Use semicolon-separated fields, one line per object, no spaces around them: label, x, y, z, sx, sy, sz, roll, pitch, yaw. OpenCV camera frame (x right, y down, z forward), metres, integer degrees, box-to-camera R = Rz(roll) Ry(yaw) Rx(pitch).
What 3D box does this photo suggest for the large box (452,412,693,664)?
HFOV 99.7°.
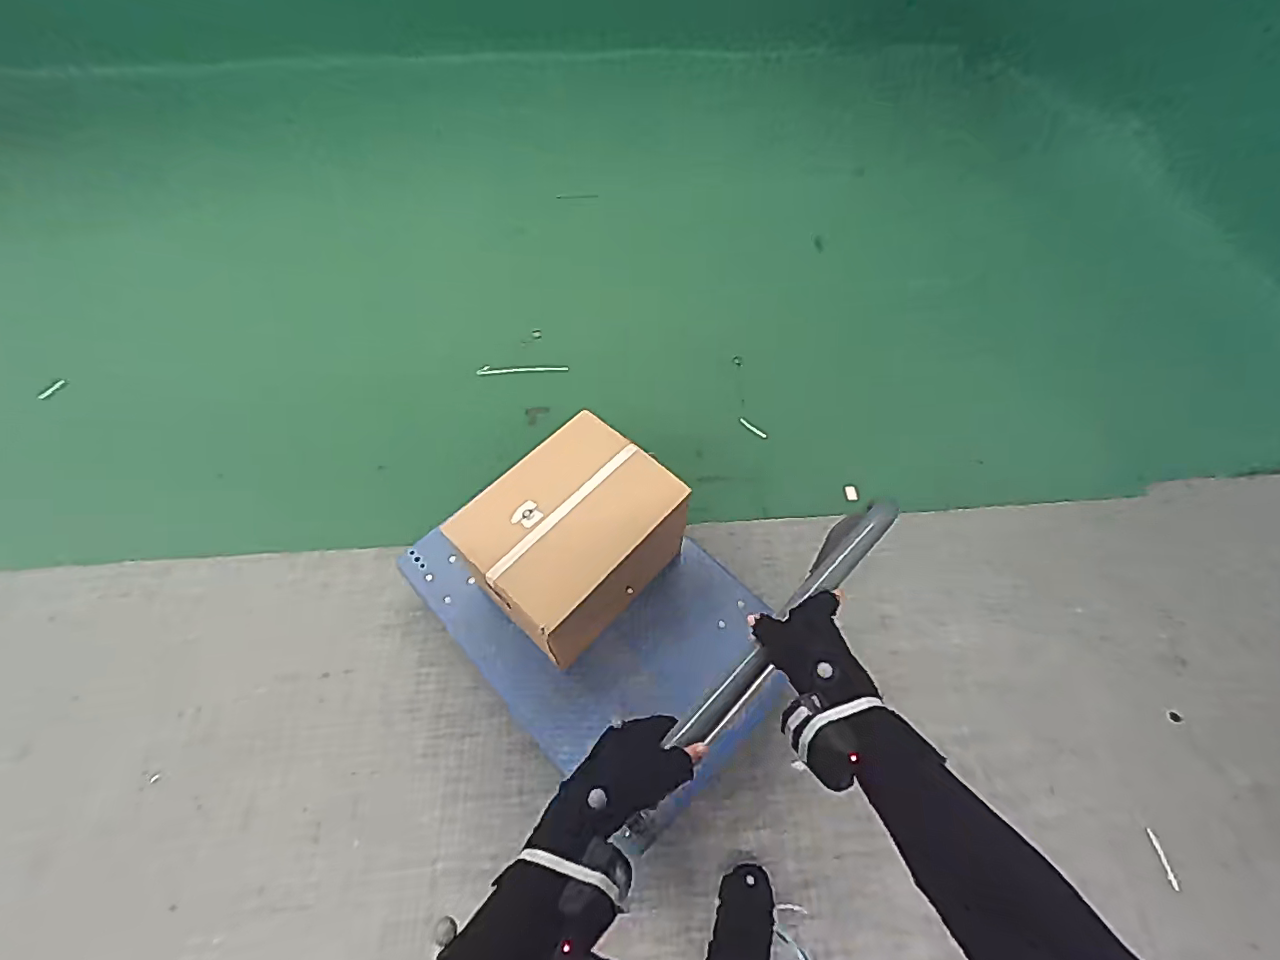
large box;-0.130;0.134;1.216;0.320;0.320;0.408;38;66;20
